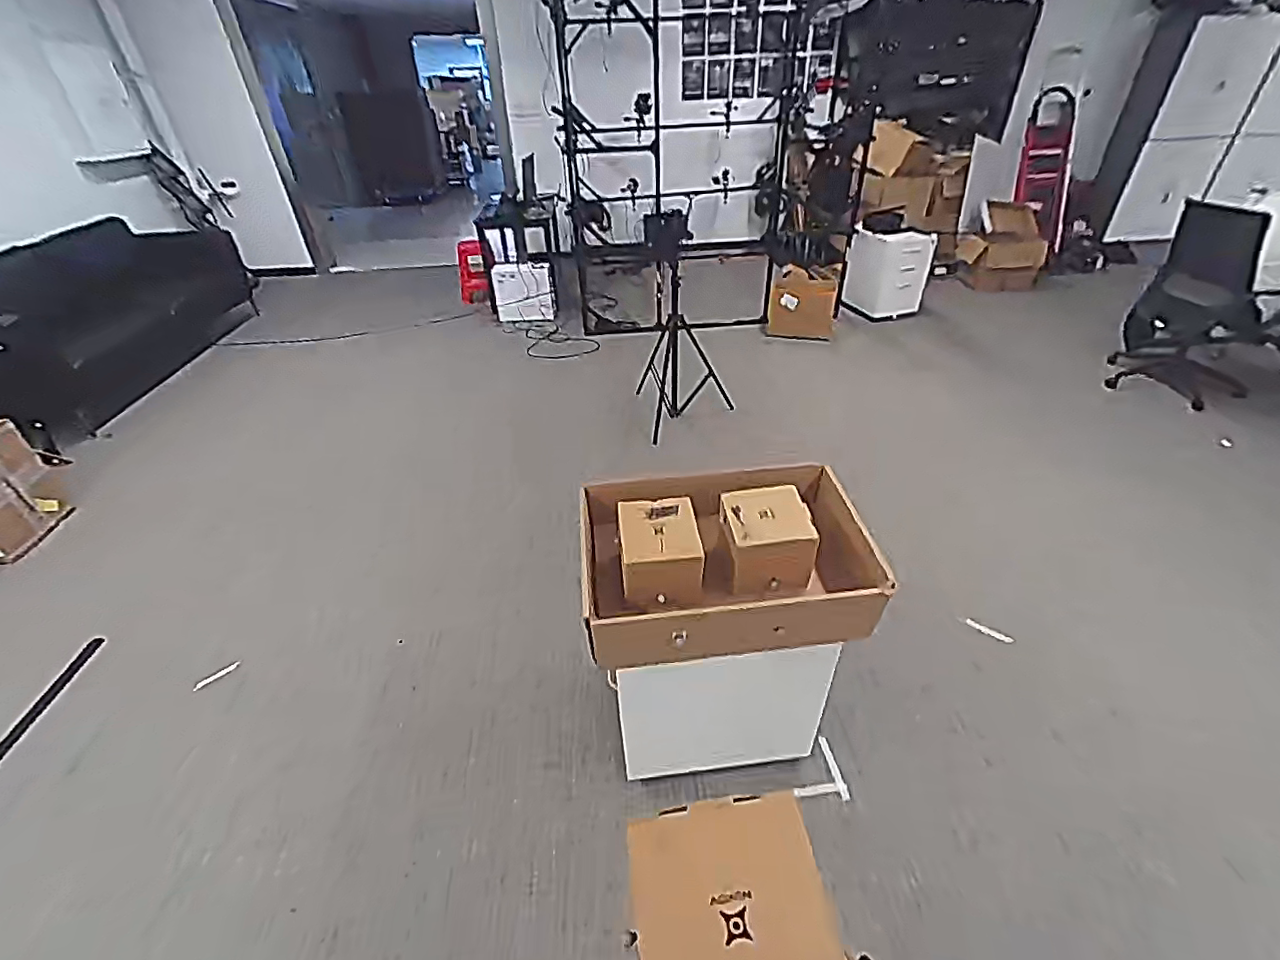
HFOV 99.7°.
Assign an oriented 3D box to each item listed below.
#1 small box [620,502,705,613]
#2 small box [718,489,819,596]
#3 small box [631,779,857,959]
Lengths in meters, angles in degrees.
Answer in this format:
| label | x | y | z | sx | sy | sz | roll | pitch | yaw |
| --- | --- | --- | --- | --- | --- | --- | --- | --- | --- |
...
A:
| label | x | y | z | sx | sy | sz | roll | pitch | yaw |
| --- | --- | --- | --- | --- | --- | --- | --- | --- | --- |
| small box | 0.042 | 0.171 | 1.199 | 0.168 | 0.176 | 0.179 | -5 | 42 | -4 |
| small box | 0.281 | 0.143 | 1.223 | 0.179 | 0.176 | 0.168 | -6 | 41 | -3 |
| small box | 0.083 | 0.411 | 0.507 | 0.168 | 0.176 | 0.179 | -6 | 46 | -7 |
